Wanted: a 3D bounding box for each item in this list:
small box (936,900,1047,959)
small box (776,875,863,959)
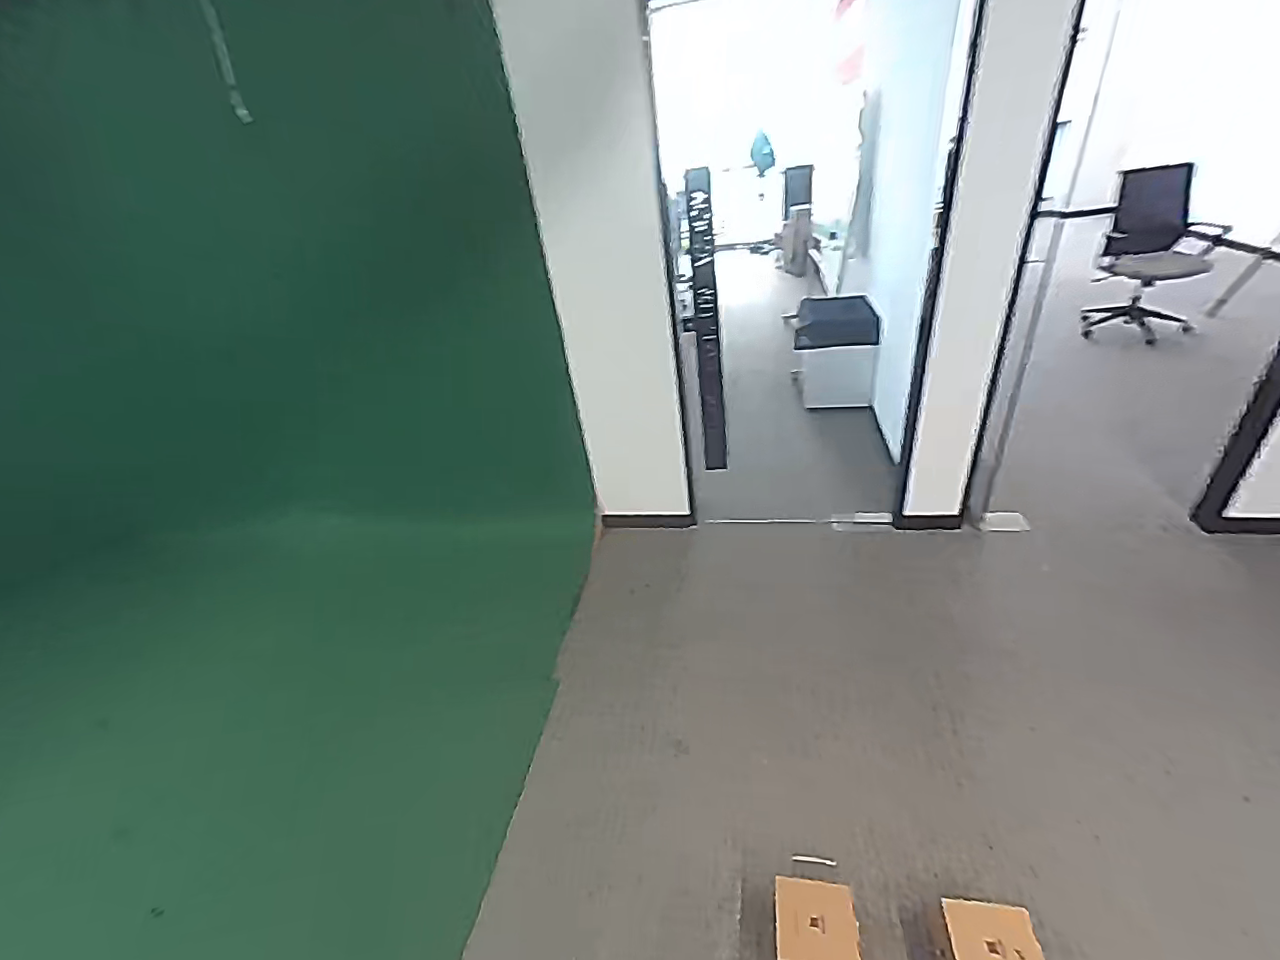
[{"bbox_3d":[0.754,1.045,1.161,0.179,0.176,0.168,0,34,13],"label":"small box"},{"bbox_3d":[0.405,1.049,1.240,0.179,0.176,0.168,0,32,14],"label":"small box"}]
